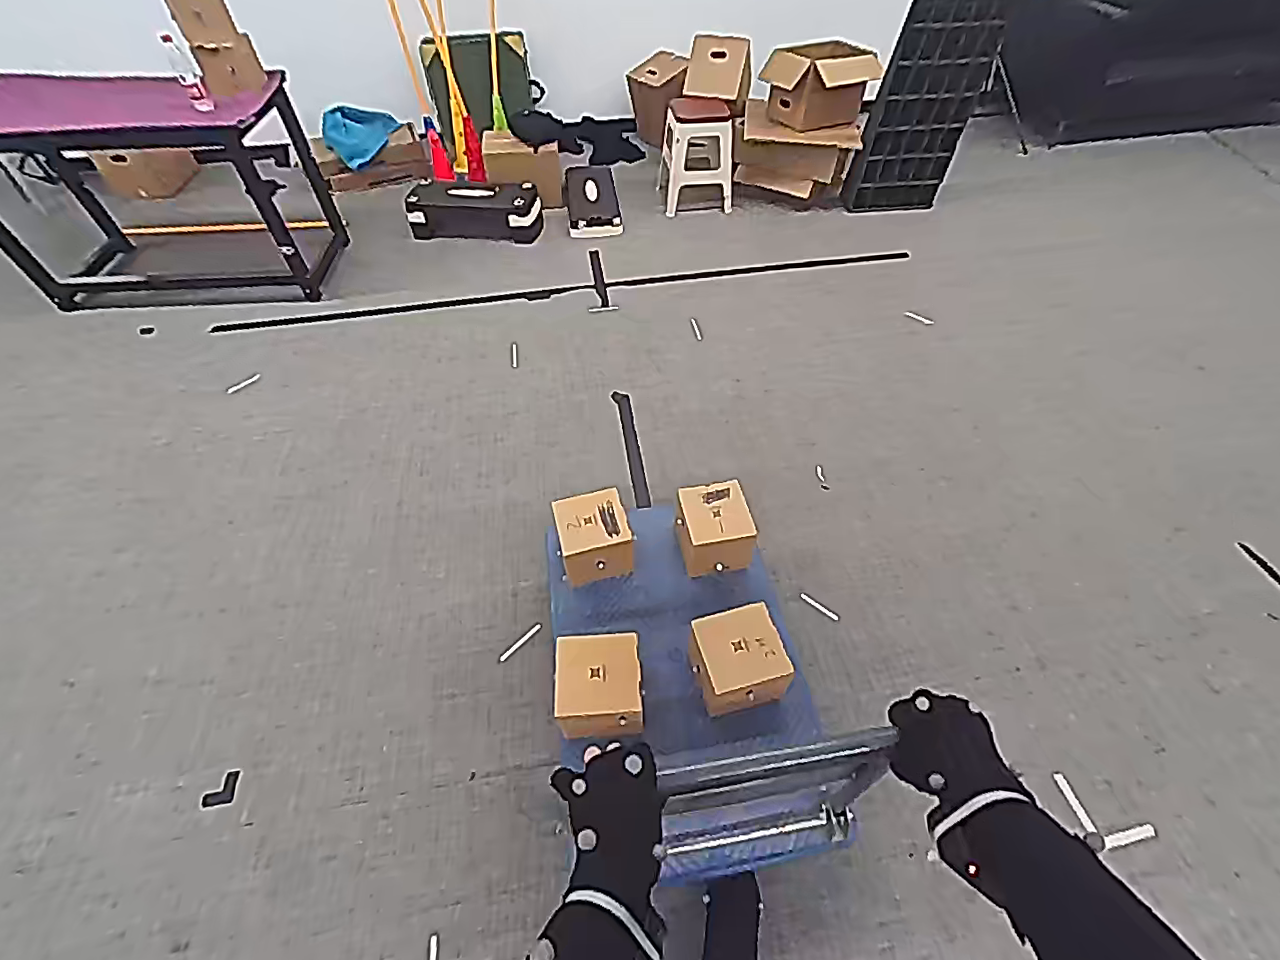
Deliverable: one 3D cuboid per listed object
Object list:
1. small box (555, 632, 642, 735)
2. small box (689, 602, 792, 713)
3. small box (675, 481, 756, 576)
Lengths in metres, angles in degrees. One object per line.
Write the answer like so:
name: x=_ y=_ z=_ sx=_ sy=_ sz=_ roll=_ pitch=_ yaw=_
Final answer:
small box: x=-0.087 y=0.450 z=1.186 sx=0.179 sy=0.176 sz=0.168 roll=-3 pitch=51 yaw=-3
small box: x=0.216 y=0.402 z=1.215 sx=0.179 sy=0.176 sz=0.168 roll=-13 pitch=53 yaw=-8
small box: x=0.191 y=0.130 z=1.431 sx=0.168 sy=0.176 sz=0.179 roll=-9 pitch=53 yaw=-6
